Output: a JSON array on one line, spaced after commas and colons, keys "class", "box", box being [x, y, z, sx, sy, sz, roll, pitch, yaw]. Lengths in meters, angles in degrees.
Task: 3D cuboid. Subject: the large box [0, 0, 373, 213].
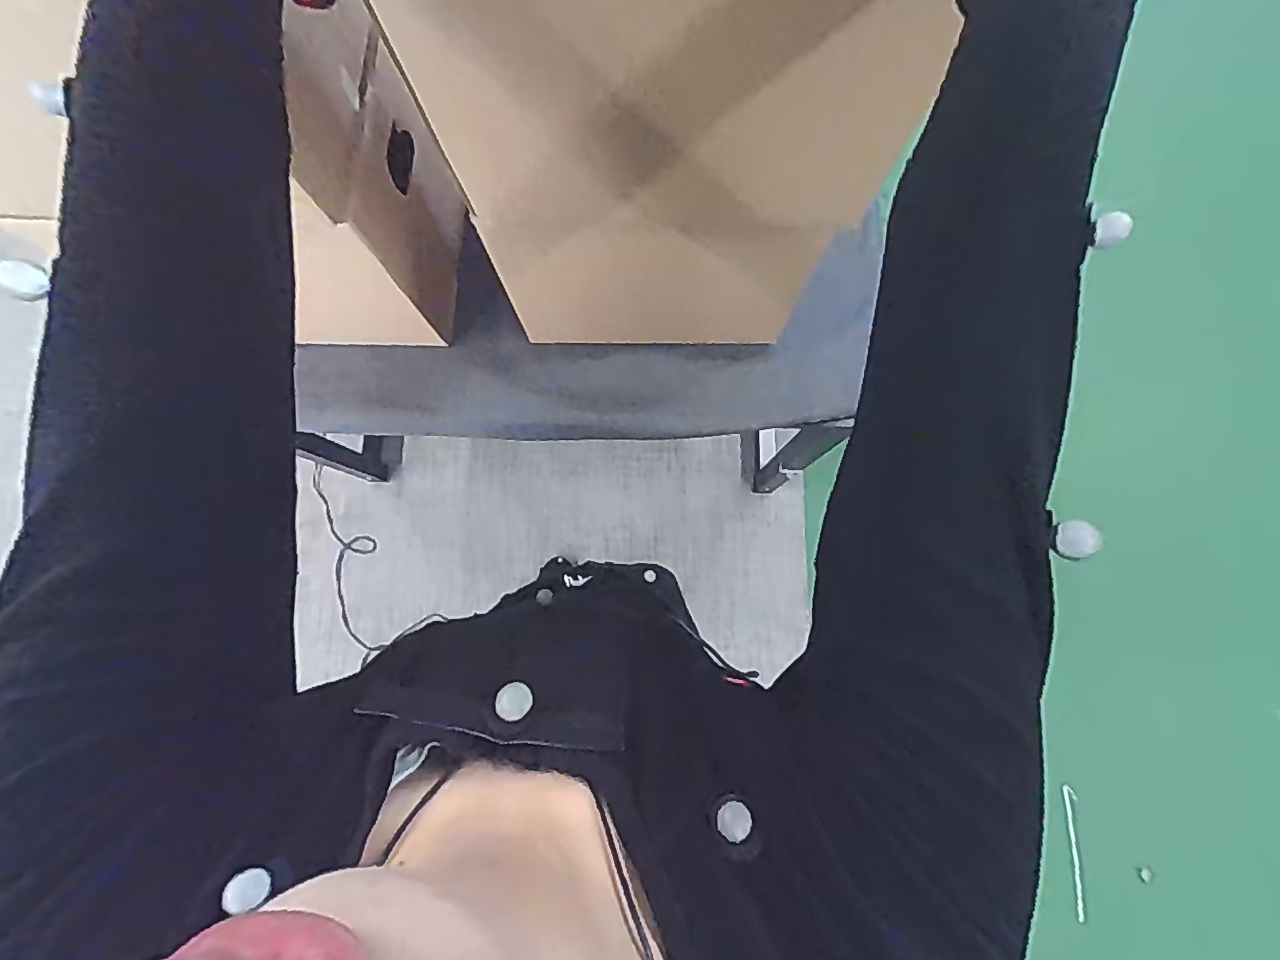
[{"class": "large box", "box": [-0.508, -0.460, 0.454, 0.408, 0.320, 0.320, 2, 80, -1]}]
